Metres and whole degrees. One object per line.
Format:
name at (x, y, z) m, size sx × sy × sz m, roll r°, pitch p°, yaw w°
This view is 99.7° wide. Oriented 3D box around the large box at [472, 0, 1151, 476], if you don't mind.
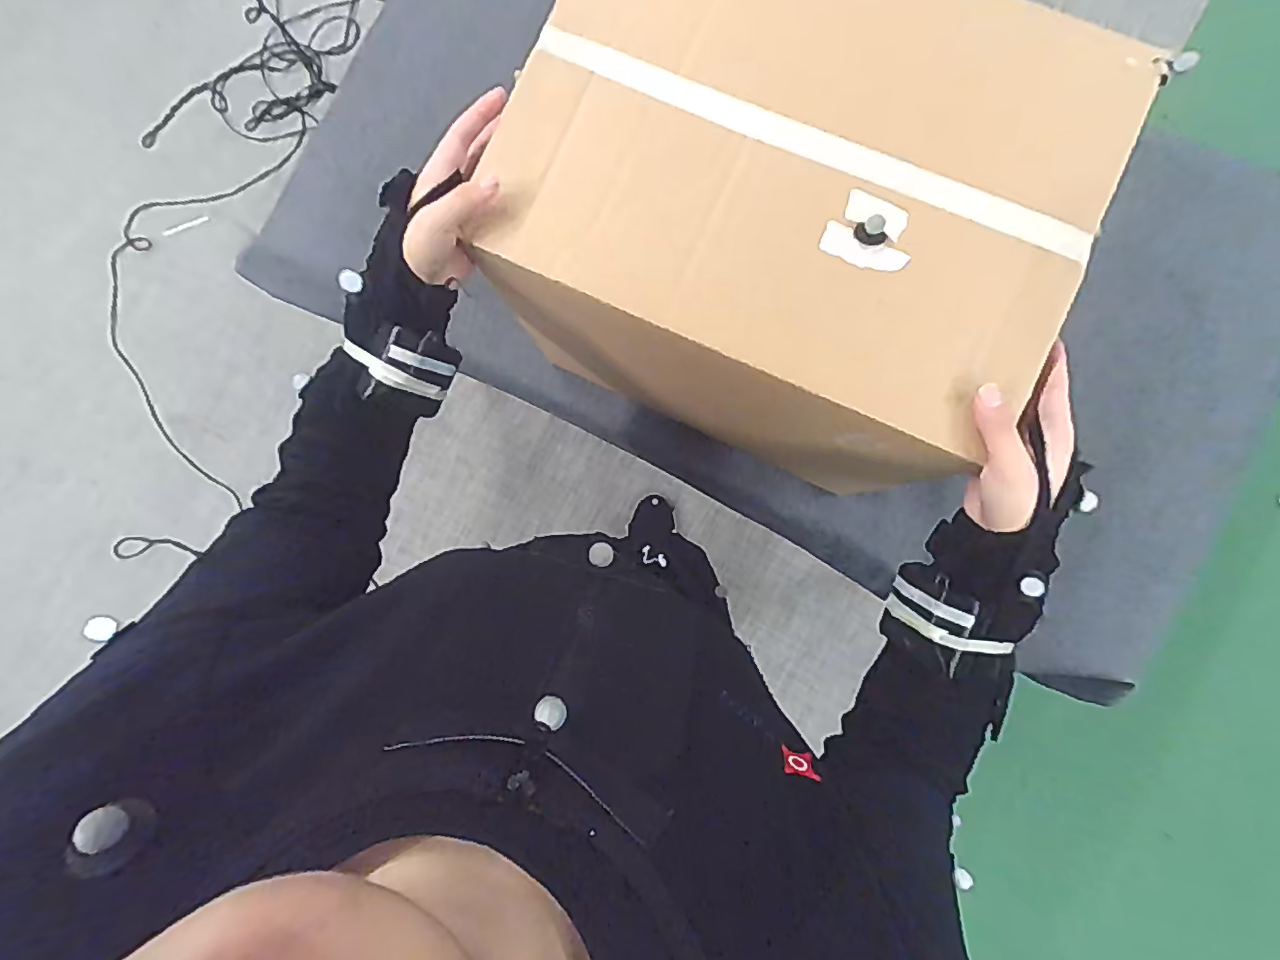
large box at (0.122, -0.230, 0.530) m, size 0.408 × 0.320 × 0.320 m, roll 25°, pitch 88°, yaw 3°
